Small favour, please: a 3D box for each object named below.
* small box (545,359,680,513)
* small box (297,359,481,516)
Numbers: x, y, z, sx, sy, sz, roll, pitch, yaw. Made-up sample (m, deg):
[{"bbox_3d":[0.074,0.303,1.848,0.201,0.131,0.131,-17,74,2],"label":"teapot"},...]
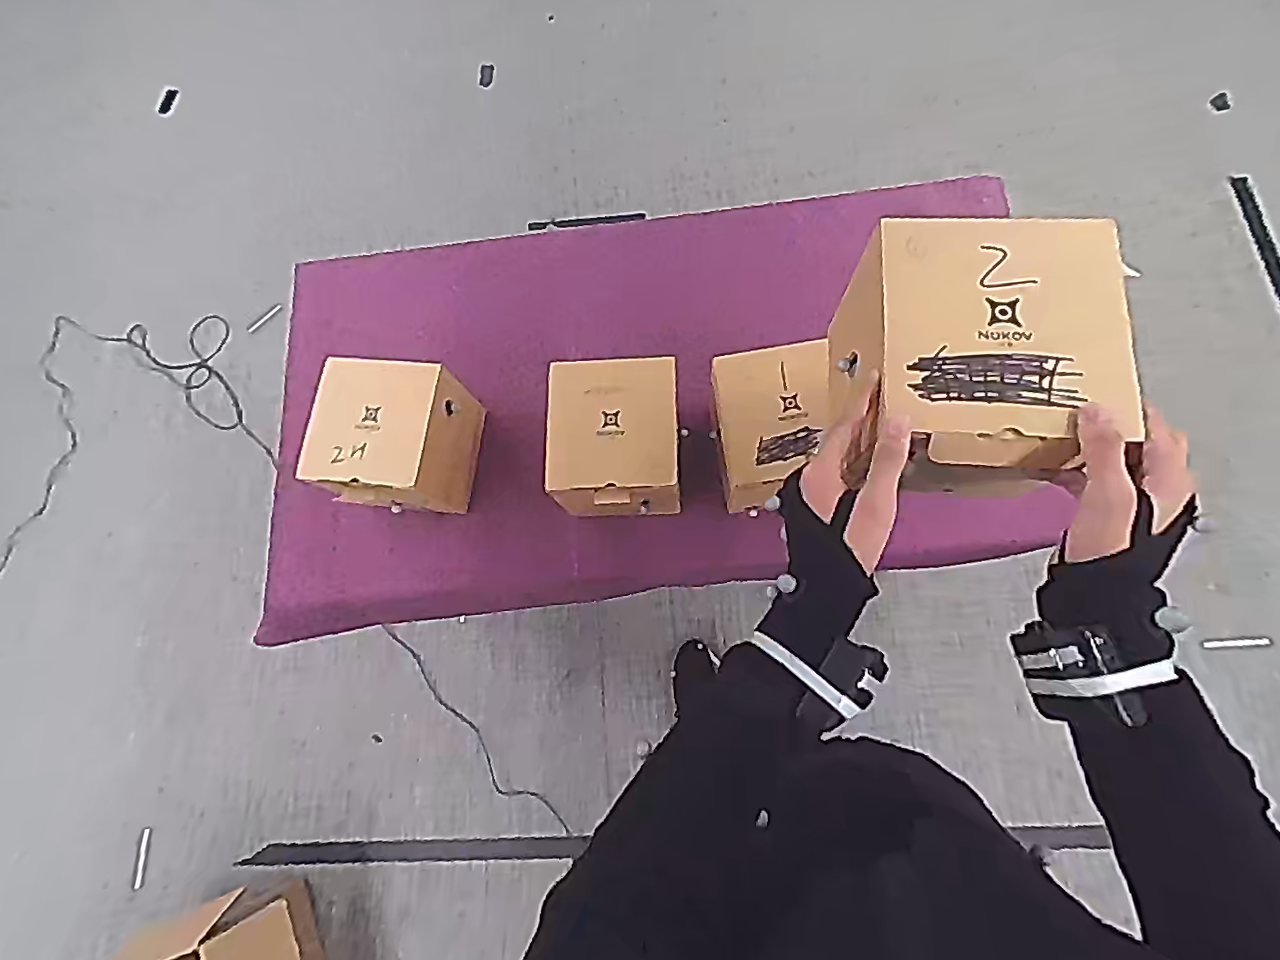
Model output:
[{"bbox_3d":[-0.030,-0.050,0.755,0.168,0.176,0.179,-2,75,4],"label":"small box"},{"bbox_3d":[-0.346,-0.055,0.783,0.168,0.176,0.179,5,77,7],"label":"small box"}]
